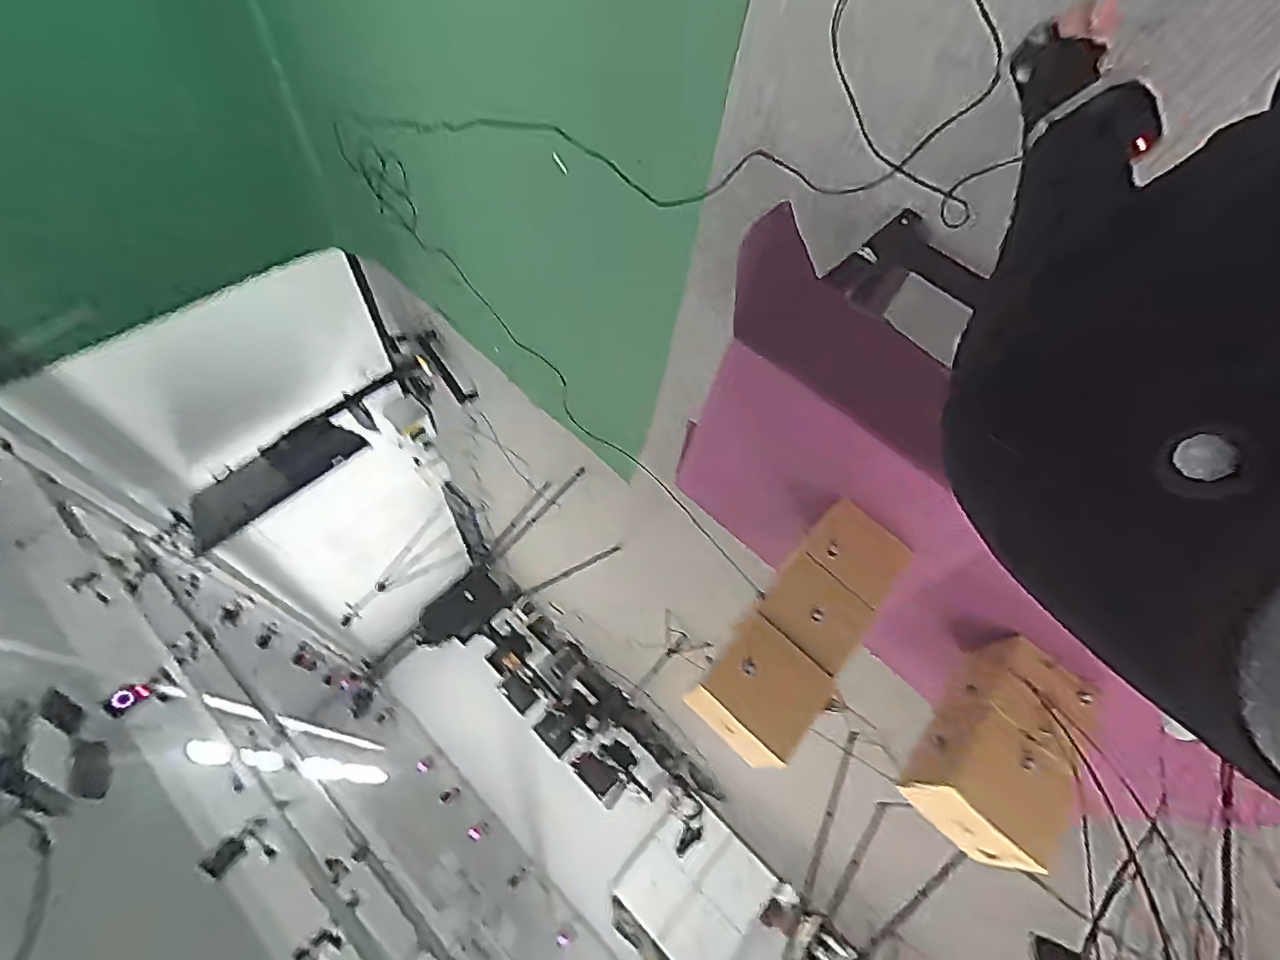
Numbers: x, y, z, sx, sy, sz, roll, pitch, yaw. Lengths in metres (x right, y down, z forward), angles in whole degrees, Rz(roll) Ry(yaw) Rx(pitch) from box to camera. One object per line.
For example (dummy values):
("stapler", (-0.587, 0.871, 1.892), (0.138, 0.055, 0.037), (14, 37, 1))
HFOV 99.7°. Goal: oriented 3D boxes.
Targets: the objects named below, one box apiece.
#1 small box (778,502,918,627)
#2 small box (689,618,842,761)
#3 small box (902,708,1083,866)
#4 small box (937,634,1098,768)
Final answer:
("small box", (0.428, 0.169, 1.123), (0.179, 0.176, 0.168), (42, 154, 13))
("small box", (0.219, 0.368, 0.966), (0.179, 0.176, 0.168), (41, 154, 13))
("small box", (0.614, 0.524, 0.949), (0.179, 0.176, 0.168), (42, 154, 14))
("small box", (0.716, 0.419, 1.025), (0.168, 0.176, 0.179), (42, 154, 15))
